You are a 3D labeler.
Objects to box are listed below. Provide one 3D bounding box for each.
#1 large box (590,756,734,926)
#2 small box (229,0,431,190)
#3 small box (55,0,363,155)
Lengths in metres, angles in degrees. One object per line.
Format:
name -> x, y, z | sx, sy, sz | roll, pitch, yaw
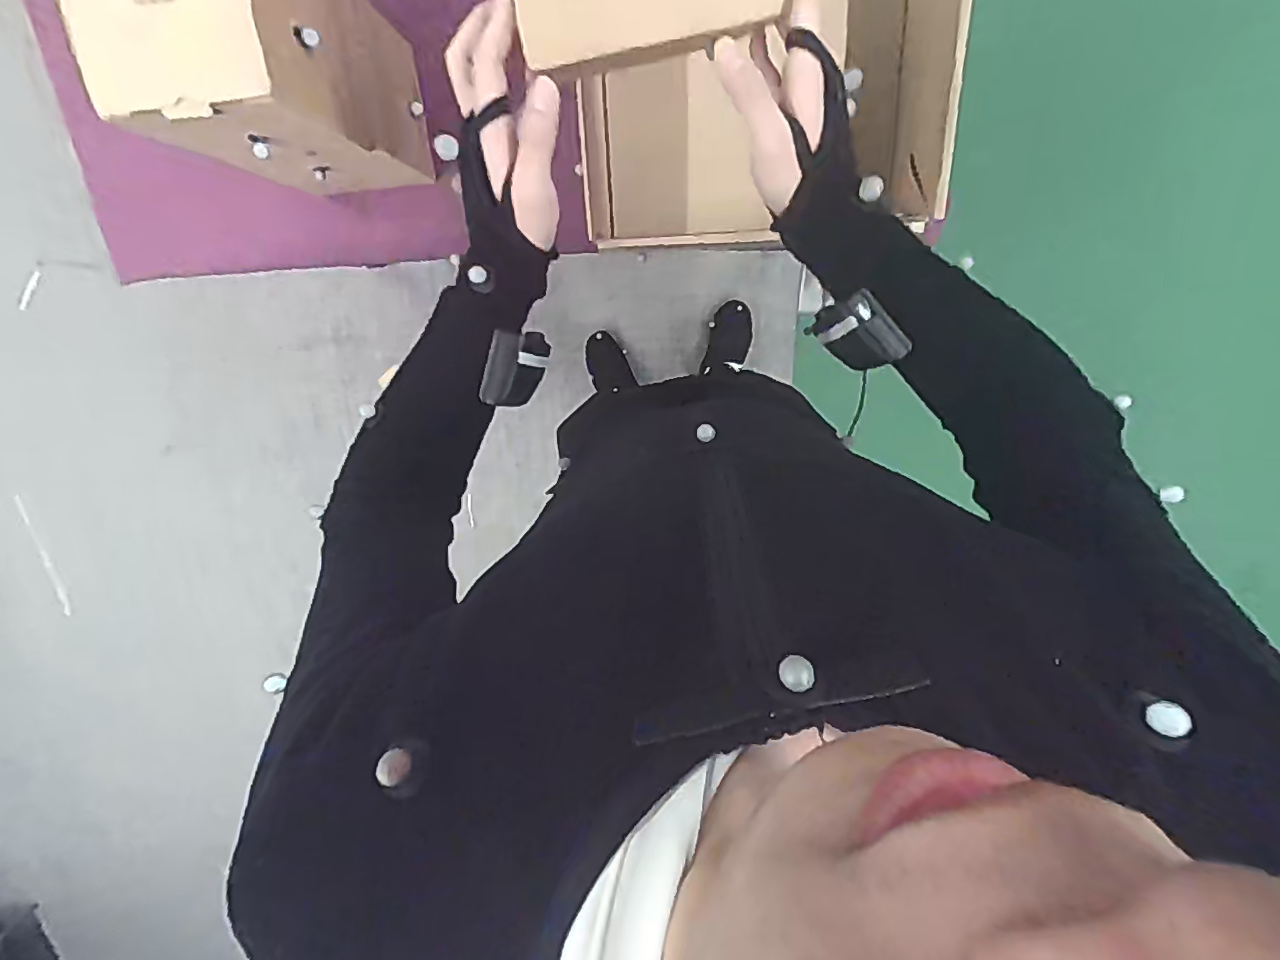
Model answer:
large box -> 0.077, 1.299, 1.962 | 0.408, 0.320, 0.320 | -32, 105, 11
small box -> -0.389, -0.472, 0.672 | 0.179, 0.176, 0.168 | -4, 108, 3
small box -> -0.395, -0.426, 0.515 | 0.168, 0.176, 0.179 | -3, 108, 3
